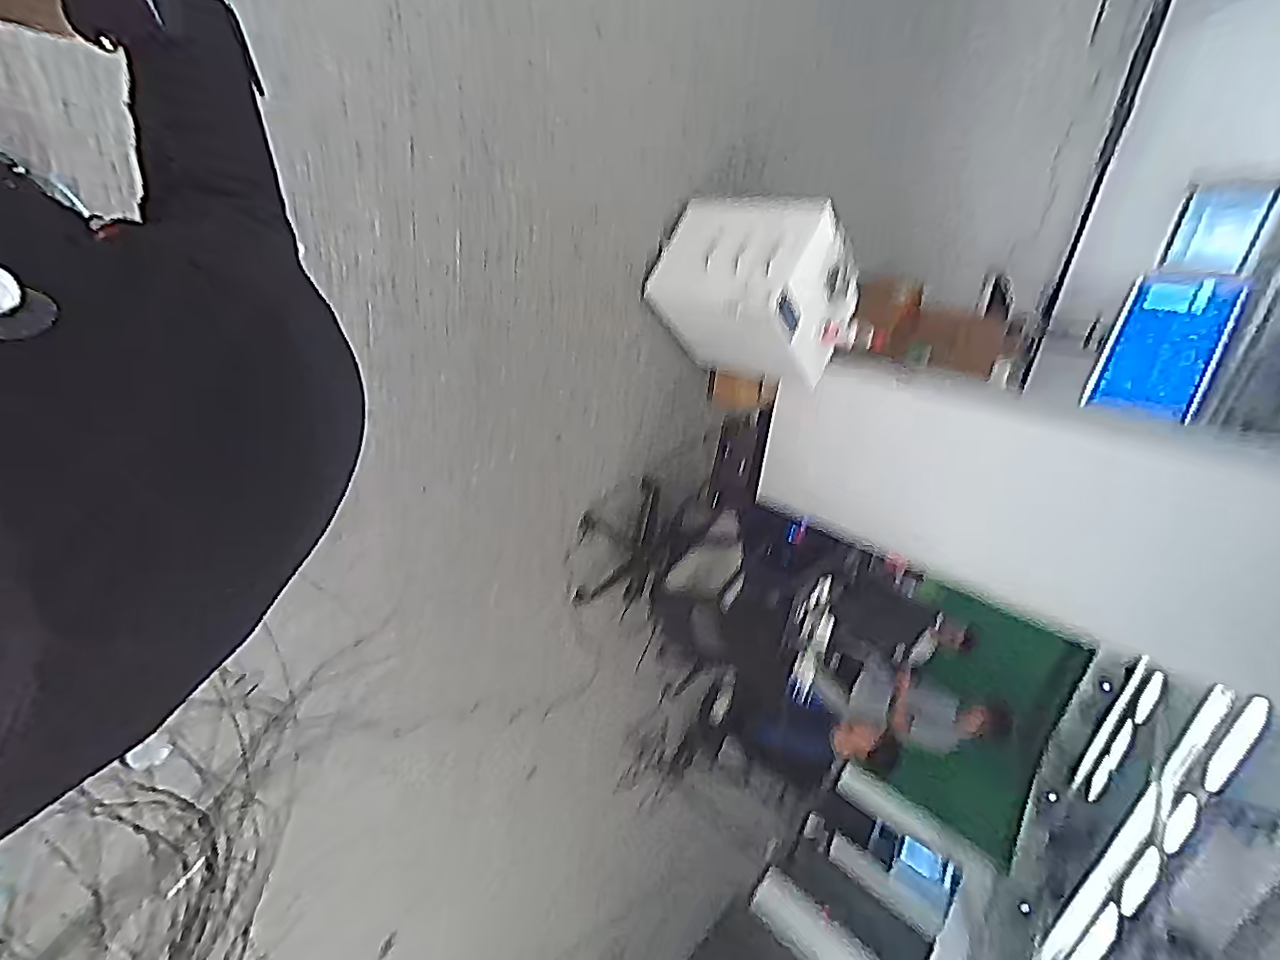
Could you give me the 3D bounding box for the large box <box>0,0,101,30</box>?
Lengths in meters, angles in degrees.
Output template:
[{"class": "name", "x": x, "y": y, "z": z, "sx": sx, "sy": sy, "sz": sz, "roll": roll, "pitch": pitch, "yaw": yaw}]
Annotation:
[{"class": "large box", "x": -0.551, "y": -0.471, "z": 0.236, "sx": 0.408, "sy": 0.320, "sz": 0.320, "roll": -16, "pitch": 126, "yaw": -45}]
